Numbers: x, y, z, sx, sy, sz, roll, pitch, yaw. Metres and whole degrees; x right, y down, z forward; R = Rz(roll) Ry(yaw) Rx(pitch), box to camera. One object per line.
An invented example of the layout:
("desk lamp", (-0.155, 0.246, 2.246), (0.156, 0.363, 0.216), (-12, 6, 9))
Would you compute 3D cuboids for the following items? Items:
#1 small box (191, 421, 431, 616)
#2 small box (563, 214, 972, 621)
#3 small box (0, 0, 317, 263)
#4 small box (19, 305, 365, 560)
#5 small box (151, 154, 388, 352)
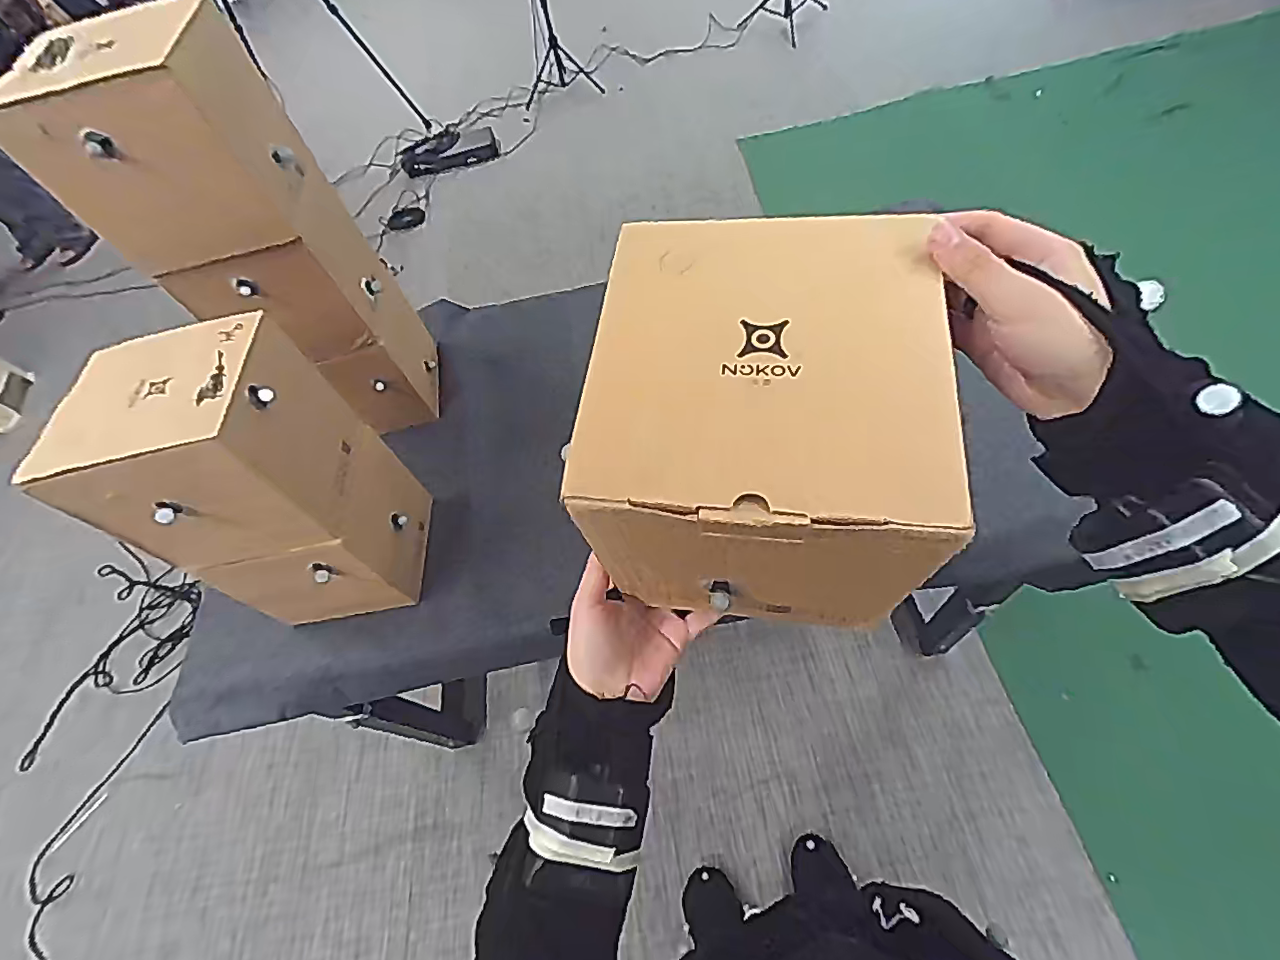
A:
("small box", (-0.383, 0.054, 0.671), (0.179, 0.176, 0.168), (-10, 55, 4))
("small box", (0.070, -0.027, 0.323), (0.168, 0.176, 0.179), (4, 65, 12))
("small box", (-0.475, -0.351, 0.552), (0.179, 0.176, 0.168), (-13, 60, 1))
("small box", (-0.413, -0.038, 0.539), (0.179, 0.176, 0.168), (-14, 56, 2))
("small box", (-0.456, -0.275, 0.697), (0.179, 0.176, 0.168), (-15, 60, 0))
